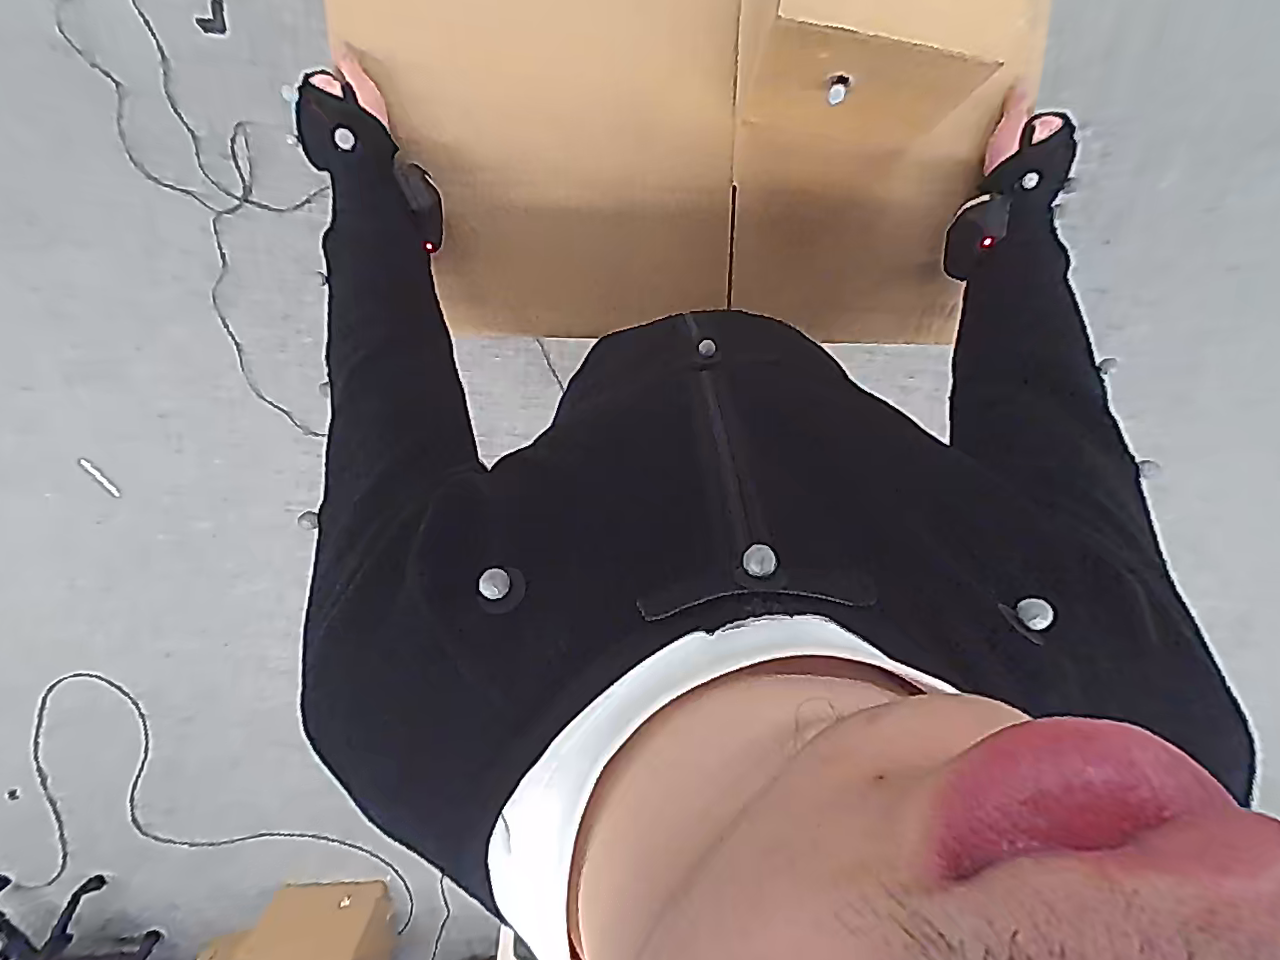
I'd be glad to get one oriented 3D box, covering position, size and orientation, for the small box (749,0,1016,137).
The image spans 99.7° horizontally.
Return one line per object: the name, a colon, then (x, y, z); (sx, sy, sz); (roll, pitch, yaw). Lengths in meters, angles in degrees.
small box: (0.201, -0.424, 0.462); (0.179, 0.176, 0.168); (11, 102, 1)
